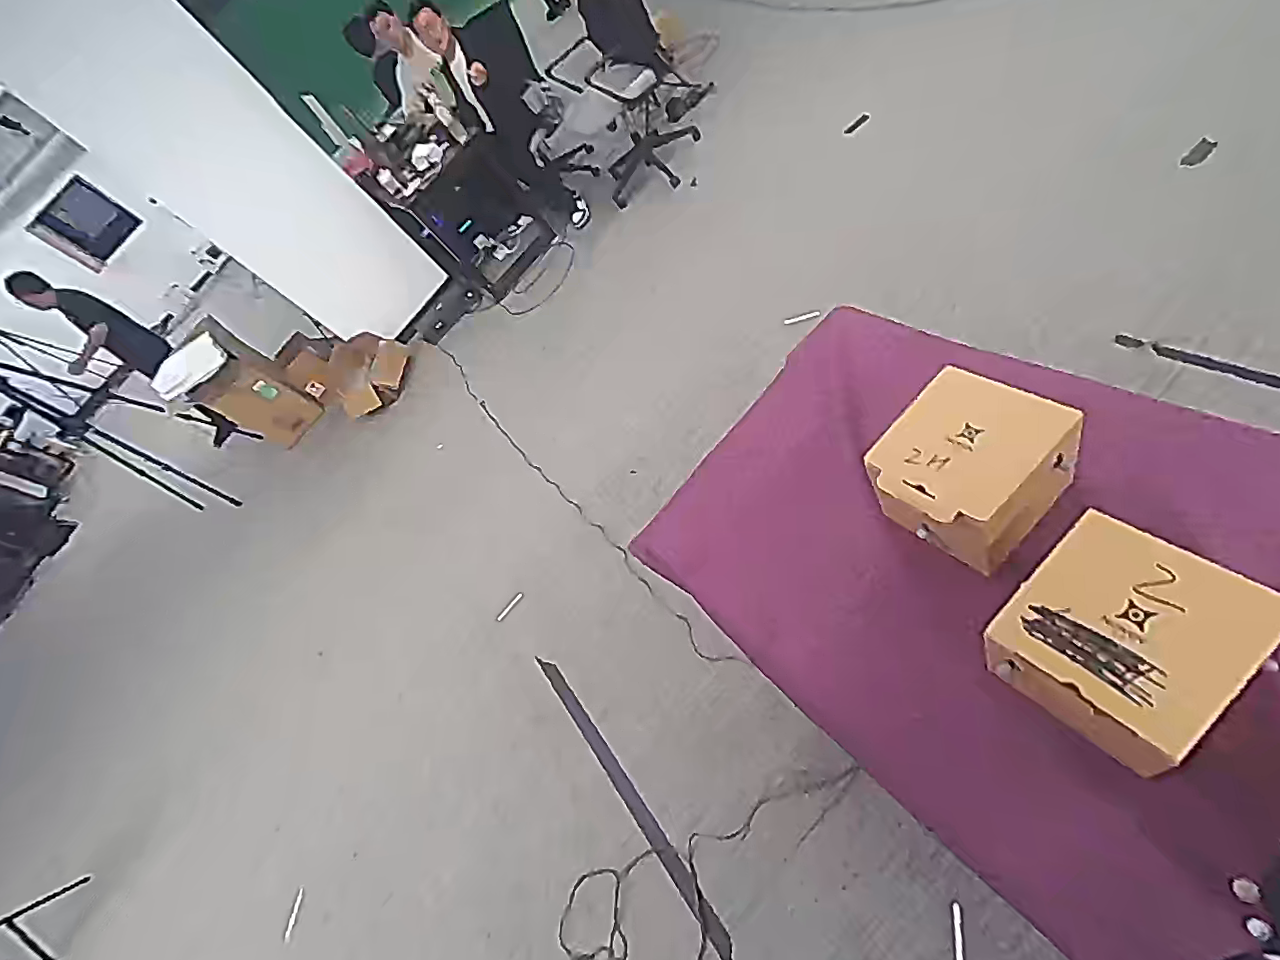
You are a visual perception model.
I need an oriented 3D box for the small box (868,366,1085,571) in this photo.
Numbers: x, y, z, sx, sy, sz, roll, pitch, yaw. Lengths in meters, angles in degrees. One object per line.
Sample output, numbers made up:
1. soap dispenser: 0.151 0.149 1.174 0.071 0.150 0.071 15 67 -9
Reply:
1. small box: 0.438 -0.012 0.717 0.179 0.176 0.168 -48 46 -1
